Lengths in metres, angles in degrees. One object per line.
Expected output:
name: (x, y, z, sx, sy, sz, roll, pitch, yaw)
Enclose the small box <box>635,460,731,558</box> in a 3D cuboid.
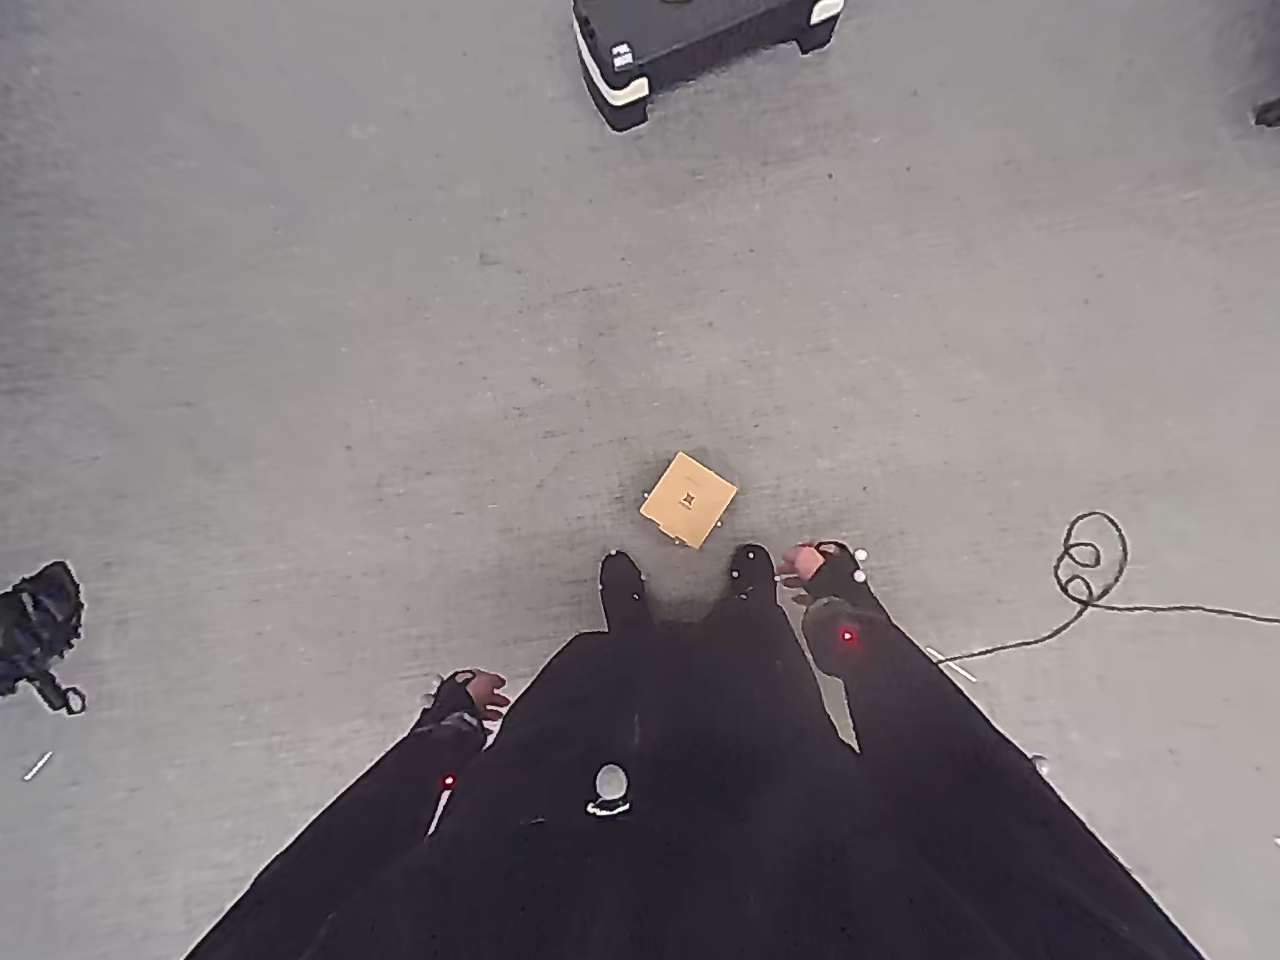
small box: (0.106, 0.075, 1.346, 0.168, 0.176, 0.179, 33, 86, 4)
